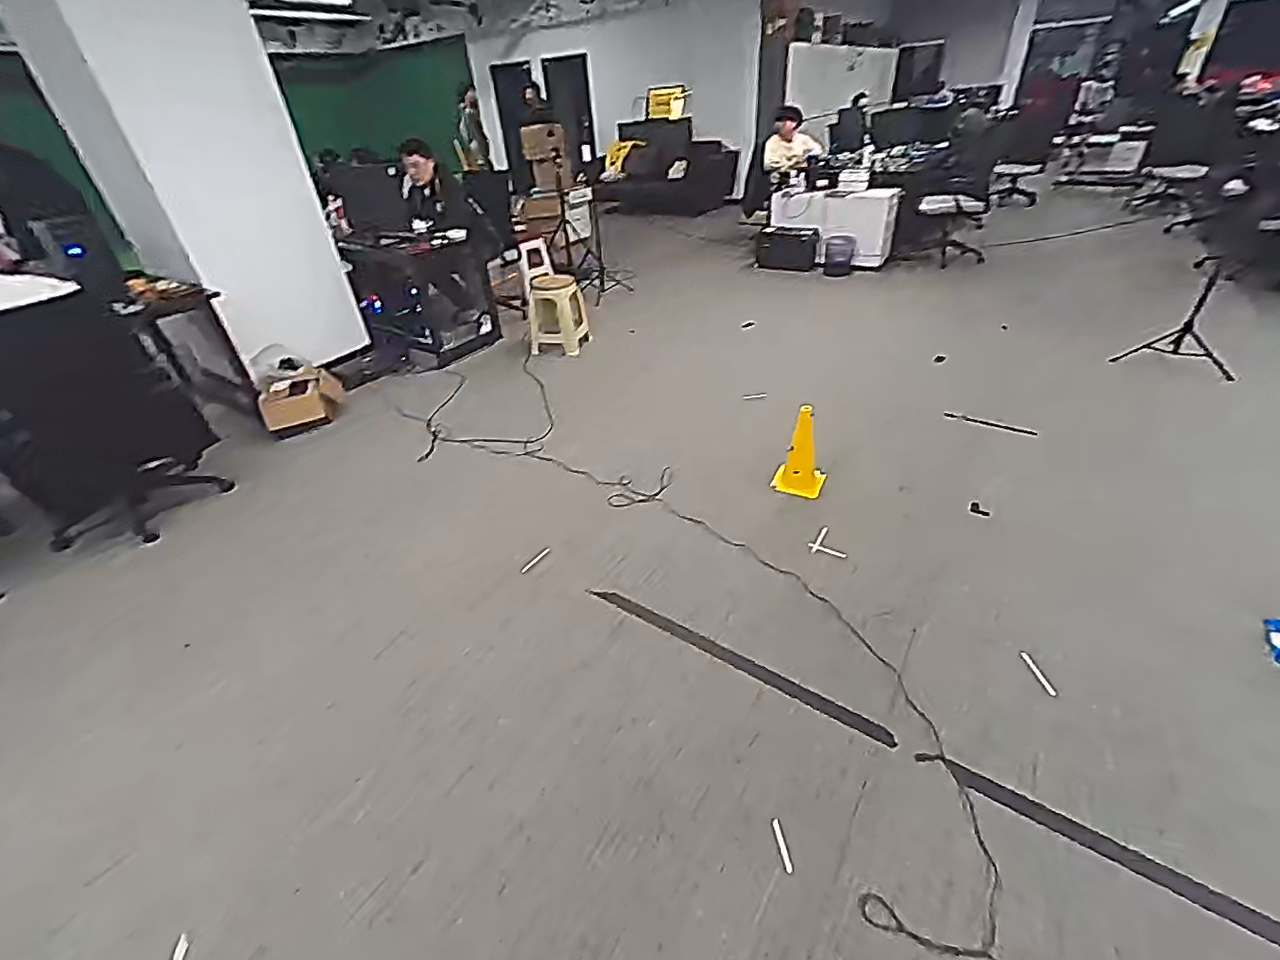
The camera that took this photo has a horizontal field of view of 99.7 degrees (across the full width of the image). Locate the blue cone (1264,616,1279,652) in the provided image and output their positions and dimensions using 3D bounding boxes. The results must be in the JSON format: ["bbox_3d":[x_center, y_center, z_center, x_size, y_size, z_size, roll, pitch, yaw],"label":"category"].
[{"bbox_3d":[1.886,0.332,1.422,0.193,0.380,0.192,19,40,31],"label":"blue cone"}]
